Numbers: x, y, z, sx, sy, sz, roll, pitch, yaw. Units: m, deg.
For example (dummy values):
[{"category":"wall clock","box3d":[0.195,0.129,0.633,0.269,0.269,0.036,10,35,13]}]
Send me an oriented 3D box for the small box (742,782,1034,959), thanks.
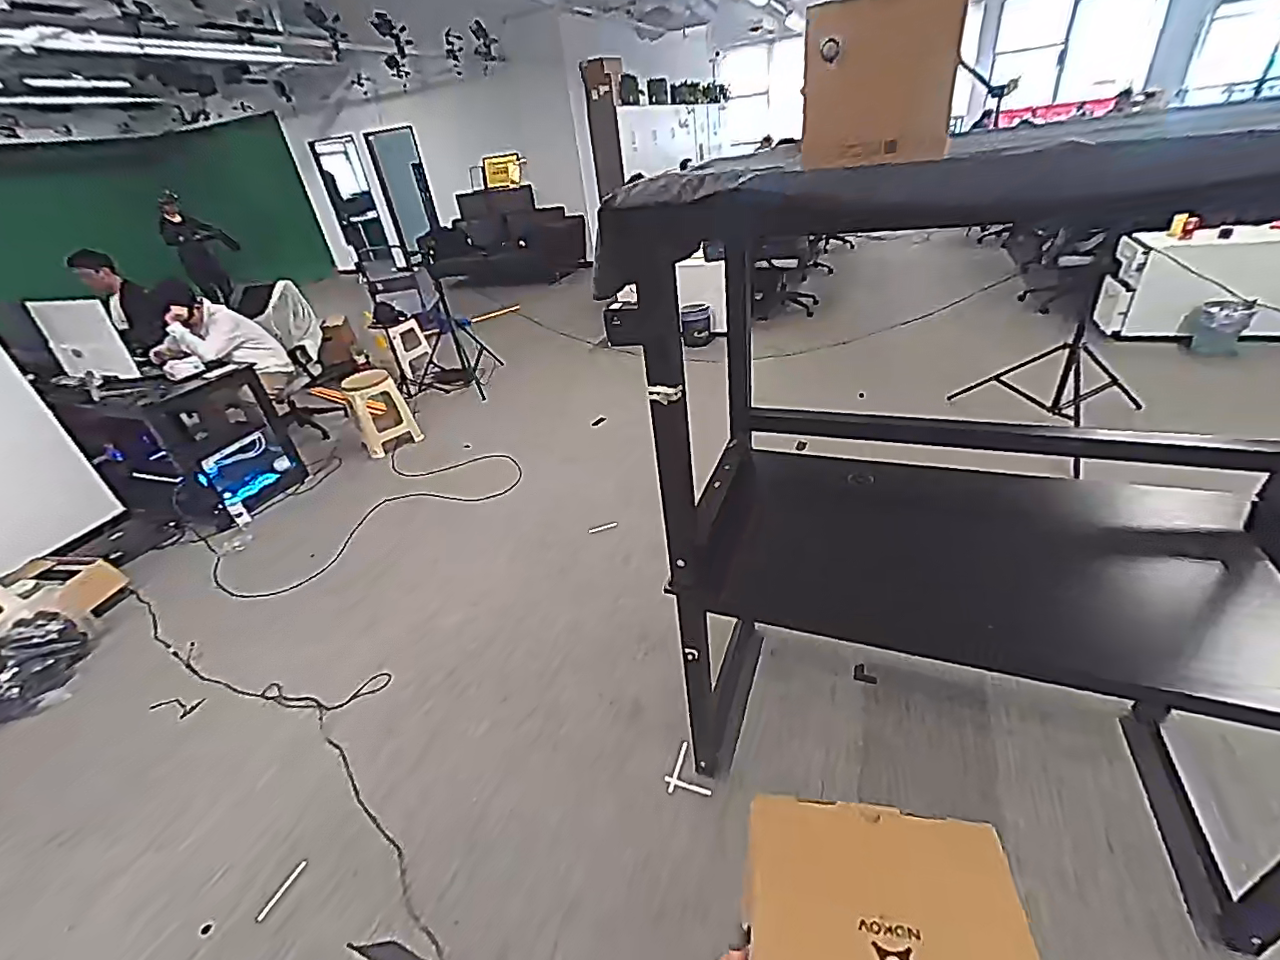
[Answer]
[{"category":"small box","box3d":[0.154,0.345,0.366,0.168,0.176,0.179,2,32,10]}]
